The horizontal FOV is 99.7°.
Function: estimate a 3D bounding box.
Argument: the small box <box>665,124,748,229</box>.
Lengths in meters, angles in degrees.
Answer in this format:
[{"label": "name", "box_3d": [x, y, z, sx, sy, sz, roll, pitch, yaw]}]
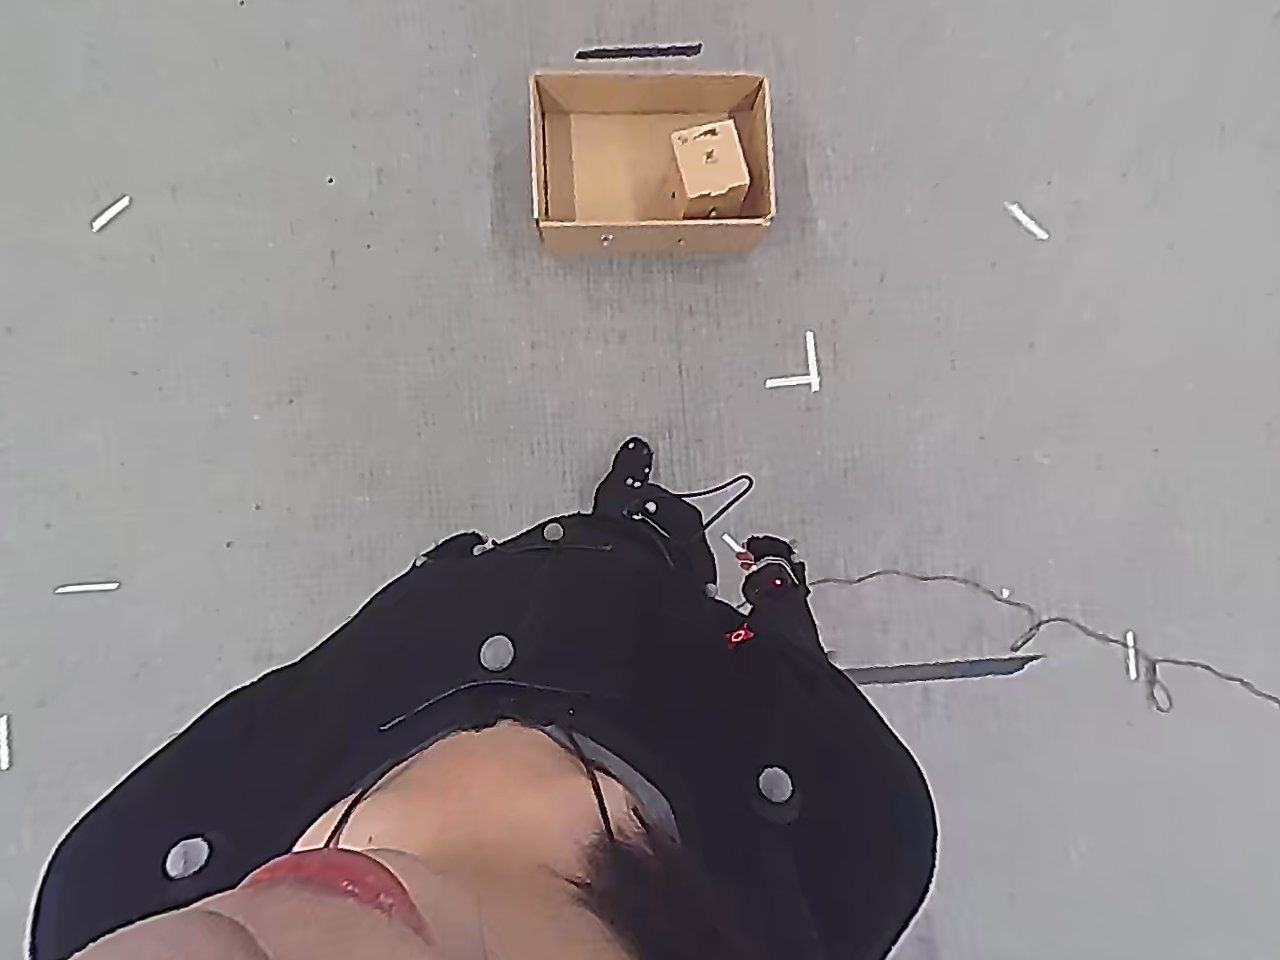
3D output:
[{"label": "small box", "box_3d": [0.170, -0.790, 1.431, 0.168, 0.176, 0.179, -15, 89, -4]}]
